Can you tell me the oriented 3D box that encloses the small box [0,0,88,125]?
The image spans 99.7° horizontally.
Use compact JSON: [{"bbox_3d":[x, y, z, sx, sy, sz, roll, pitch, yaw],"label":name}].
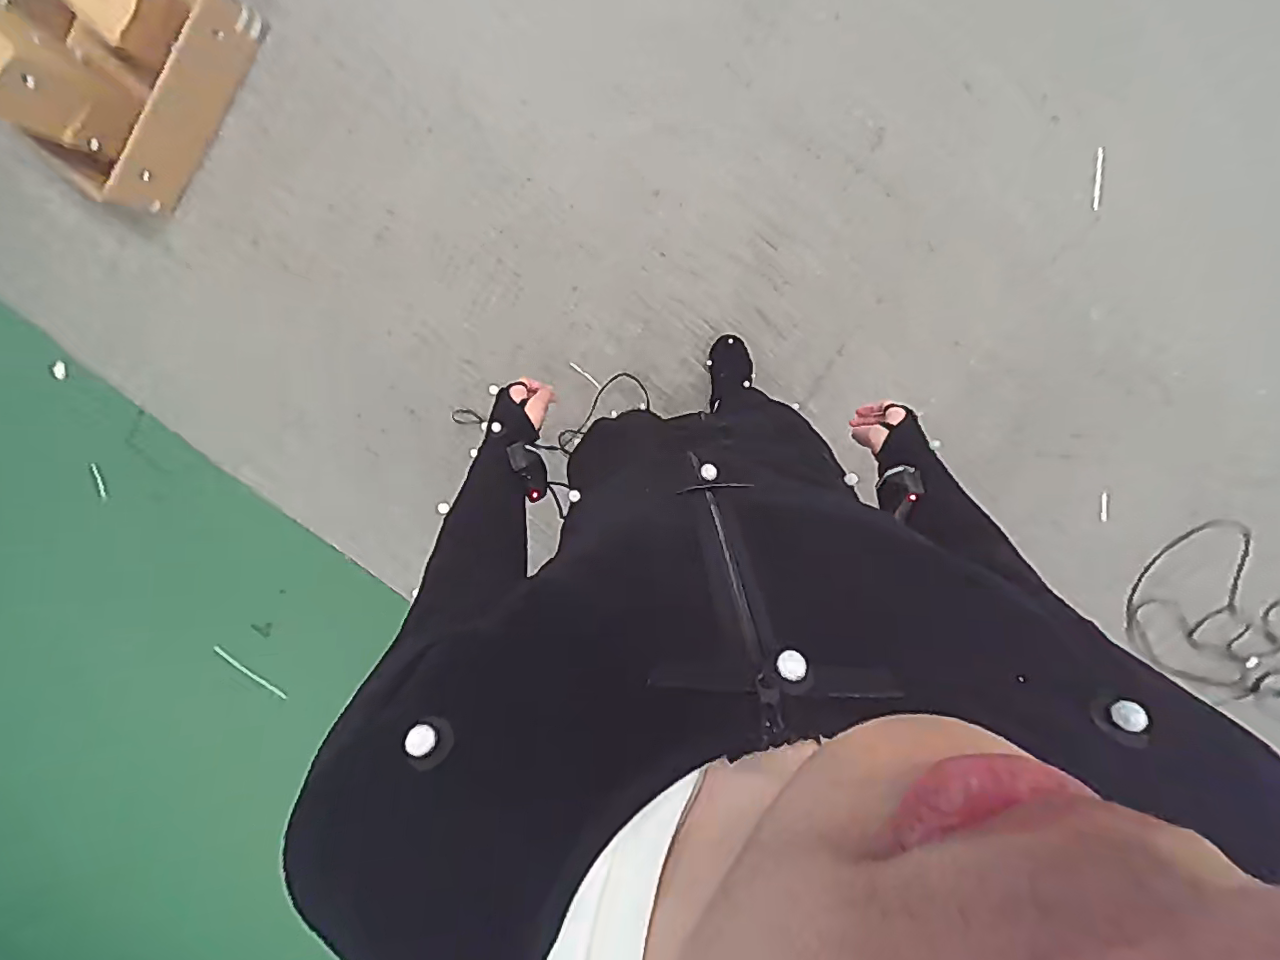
[{"bbox_3d":[-1.411,-0.949,1.207,0.179,0.176,0.168,-38,98,12],"label":"small box"}]
